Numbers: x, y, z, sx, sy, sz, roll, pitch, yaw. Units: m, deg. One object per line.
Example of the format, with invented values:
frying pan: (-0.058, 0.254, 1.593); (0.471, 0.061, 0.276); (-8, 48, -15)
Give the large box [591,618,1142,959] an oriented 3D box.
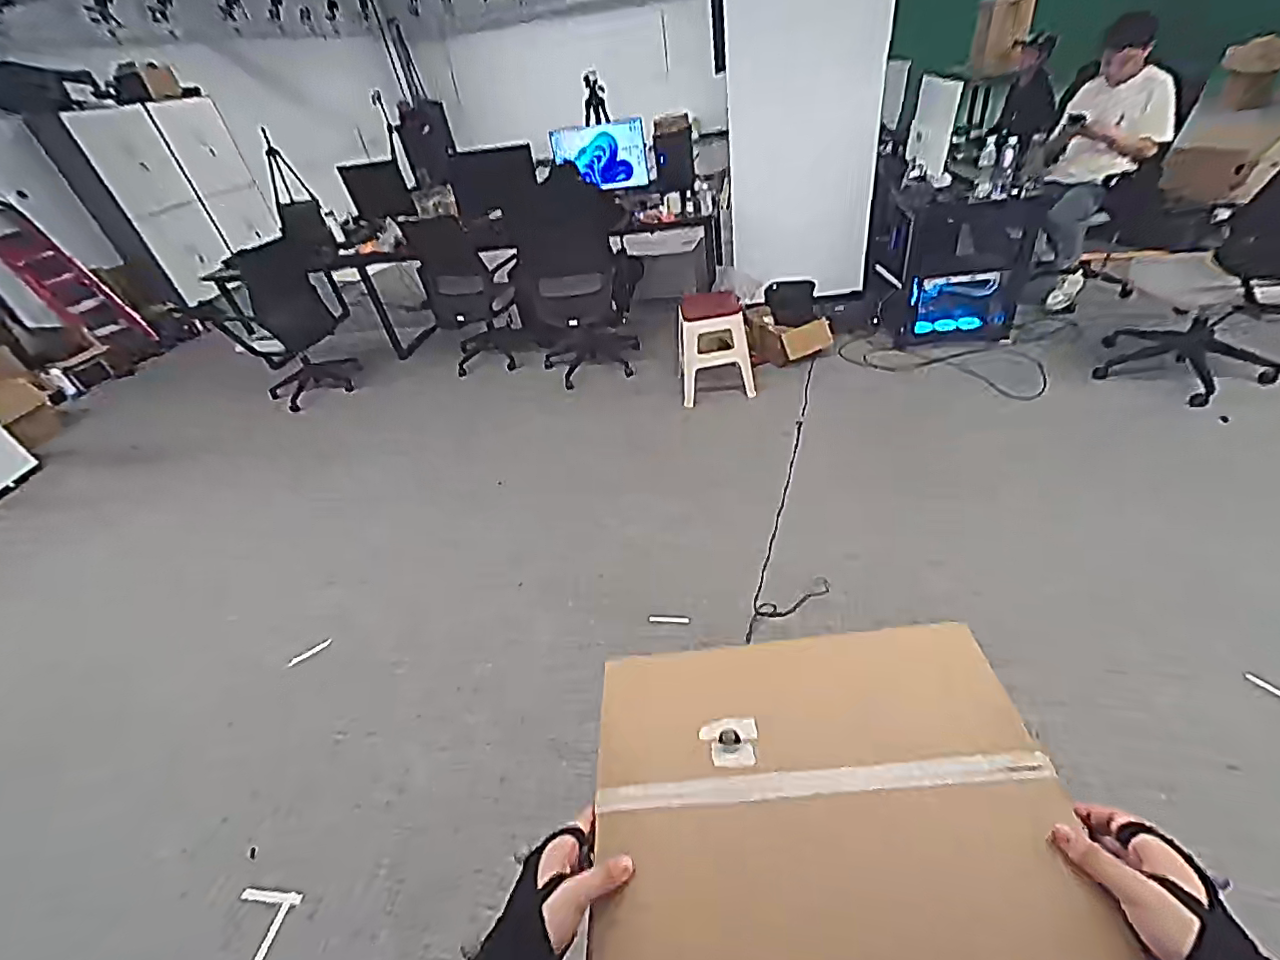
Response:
large box: (0.188, 0.395, 0.596); (0.408, 0.320, 0.320); (-10, 36, 8)
